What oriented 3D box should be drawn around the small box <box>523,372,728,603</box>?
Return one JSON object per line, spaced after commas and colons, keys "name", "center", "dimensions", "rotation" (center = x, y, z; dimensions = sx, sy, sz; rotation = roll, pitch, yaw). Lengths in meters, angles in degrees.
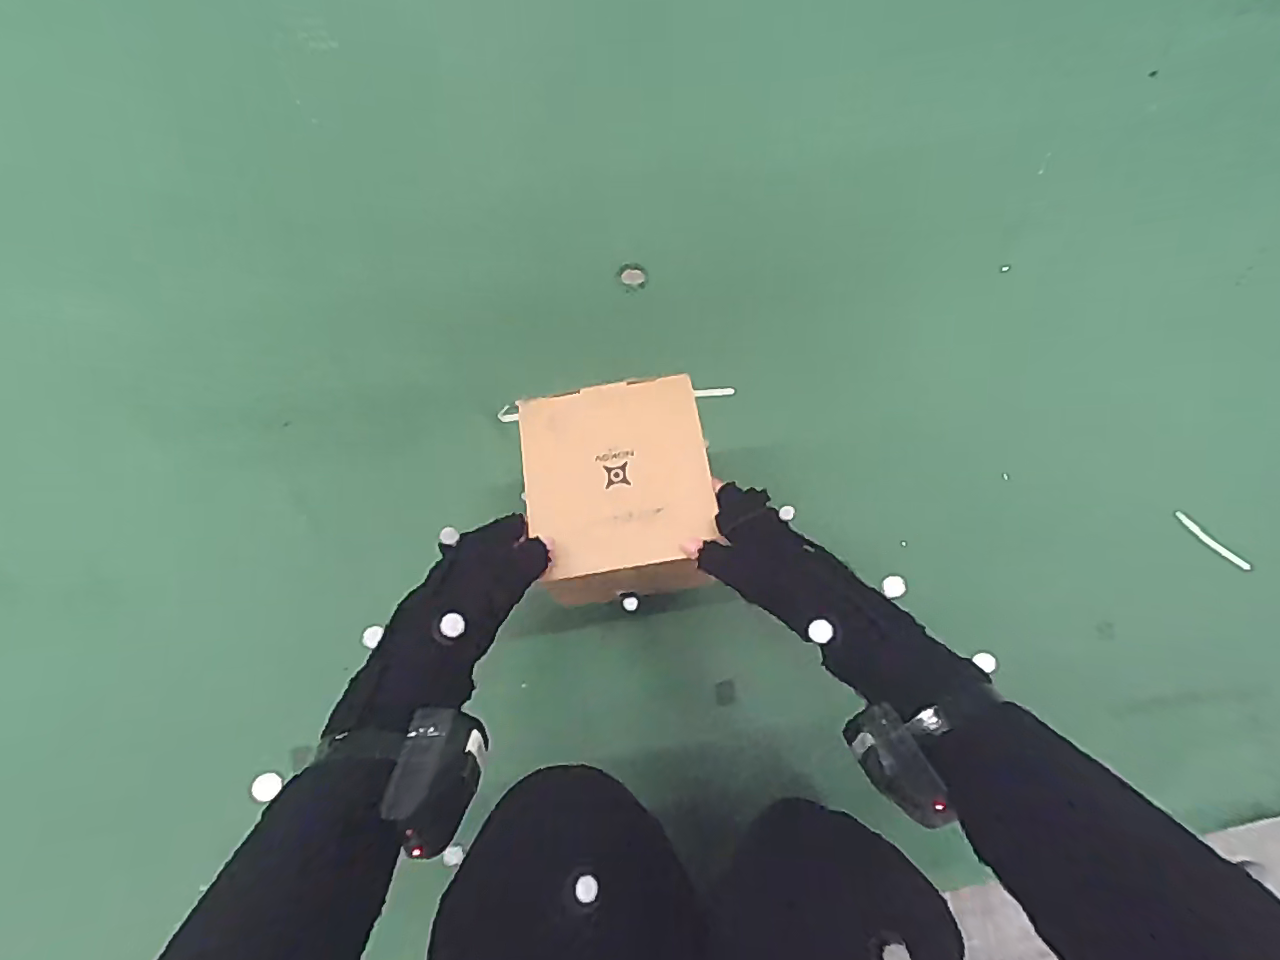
{"name": "small box", "center": [-0.014, 0.018, 0.552], "dimensions": [0.168, 0.176, 0.179], "rotation": [-10, 70, 0]}
